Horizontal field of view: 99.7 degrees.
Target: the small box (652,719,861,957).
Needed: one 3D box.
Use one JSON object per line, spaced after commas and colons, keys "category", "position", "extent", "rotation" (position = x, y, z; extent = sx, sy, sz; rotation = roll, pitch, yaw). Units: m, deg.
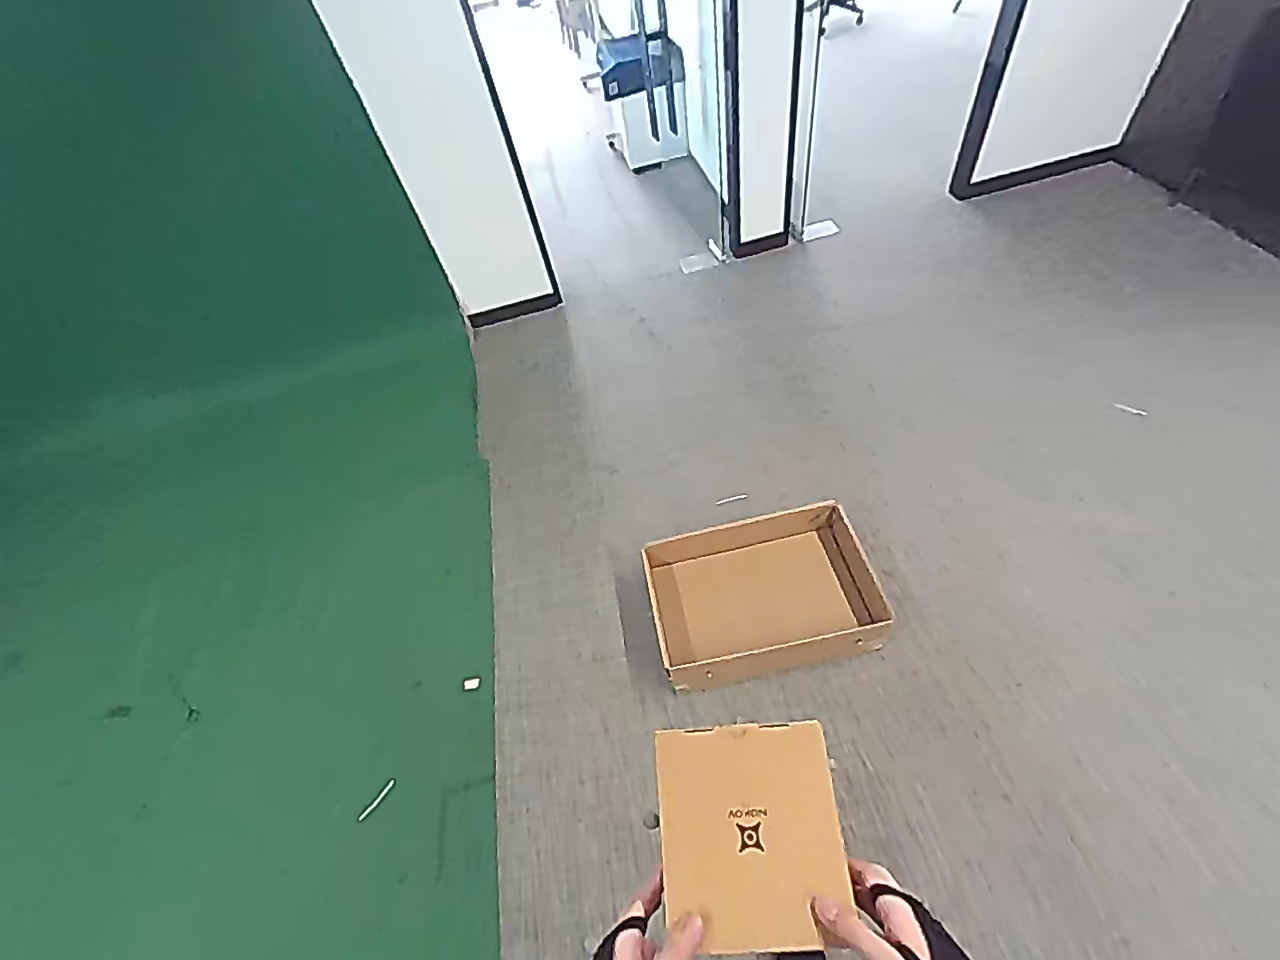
{"category": "small box", "position": [0.107, 0.351, 0.561], "extent": [0.168, 0.176, 0.179], "rotation": [-7, 63, 3]}
